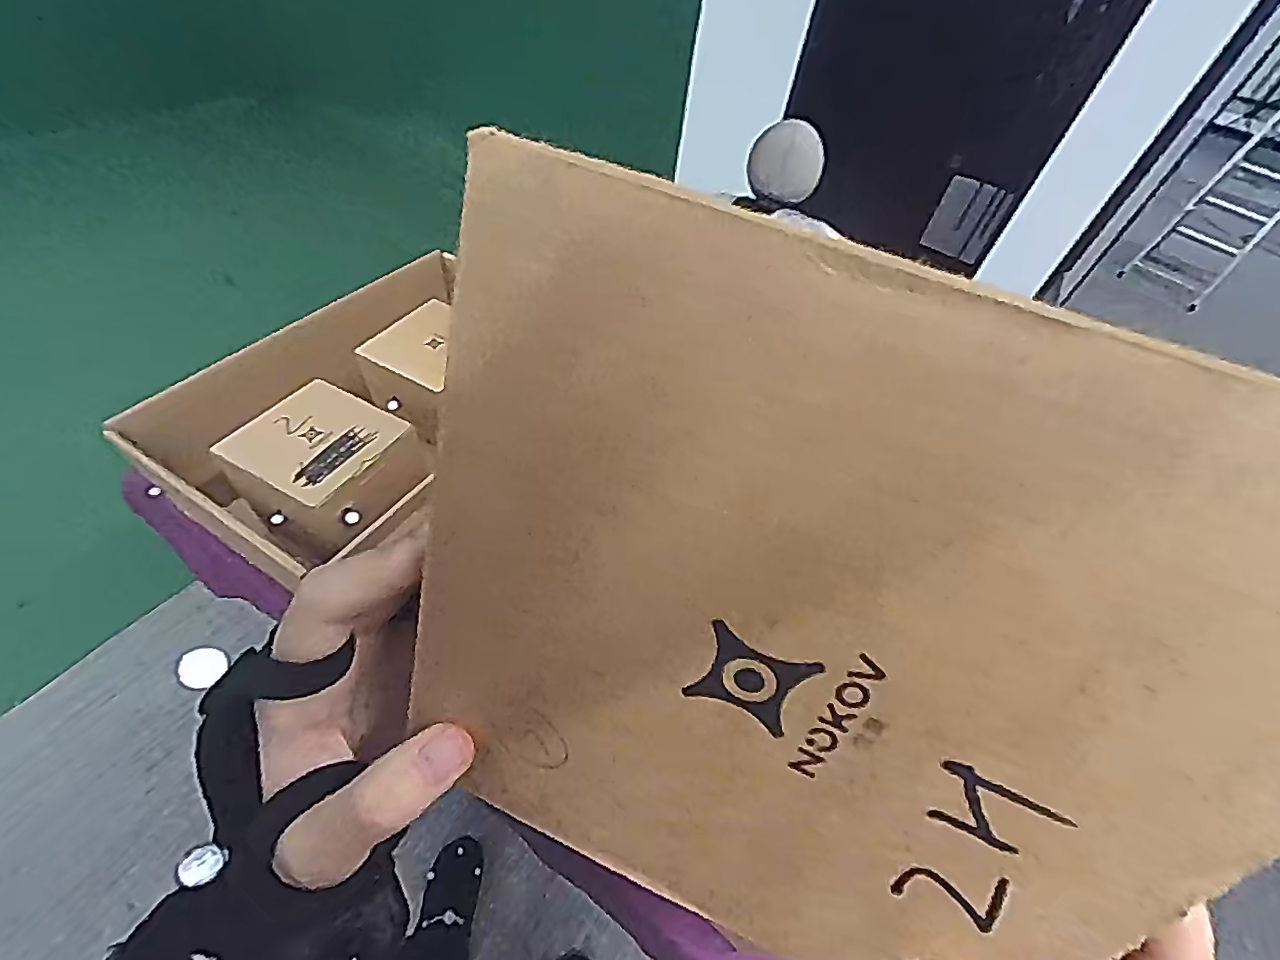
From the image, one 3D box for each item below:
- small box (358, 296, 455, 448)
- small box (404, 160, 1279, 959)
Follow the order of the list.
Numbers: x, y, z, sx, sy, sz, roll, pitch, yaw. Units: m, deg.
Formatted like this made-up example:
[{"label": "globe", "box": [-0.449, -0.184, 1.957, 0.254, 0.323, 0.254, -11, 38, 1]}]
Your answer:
[{"label": "small box", "box": [-0.322, -0.169, 0.903, 0.168, 0.176, 0.179, 26, 53, 14]}, {"label": "small box", "box": [0.051, 0.014, 0.188, 0.179, 0.168, 0.176, 23, 29, 8]}]
